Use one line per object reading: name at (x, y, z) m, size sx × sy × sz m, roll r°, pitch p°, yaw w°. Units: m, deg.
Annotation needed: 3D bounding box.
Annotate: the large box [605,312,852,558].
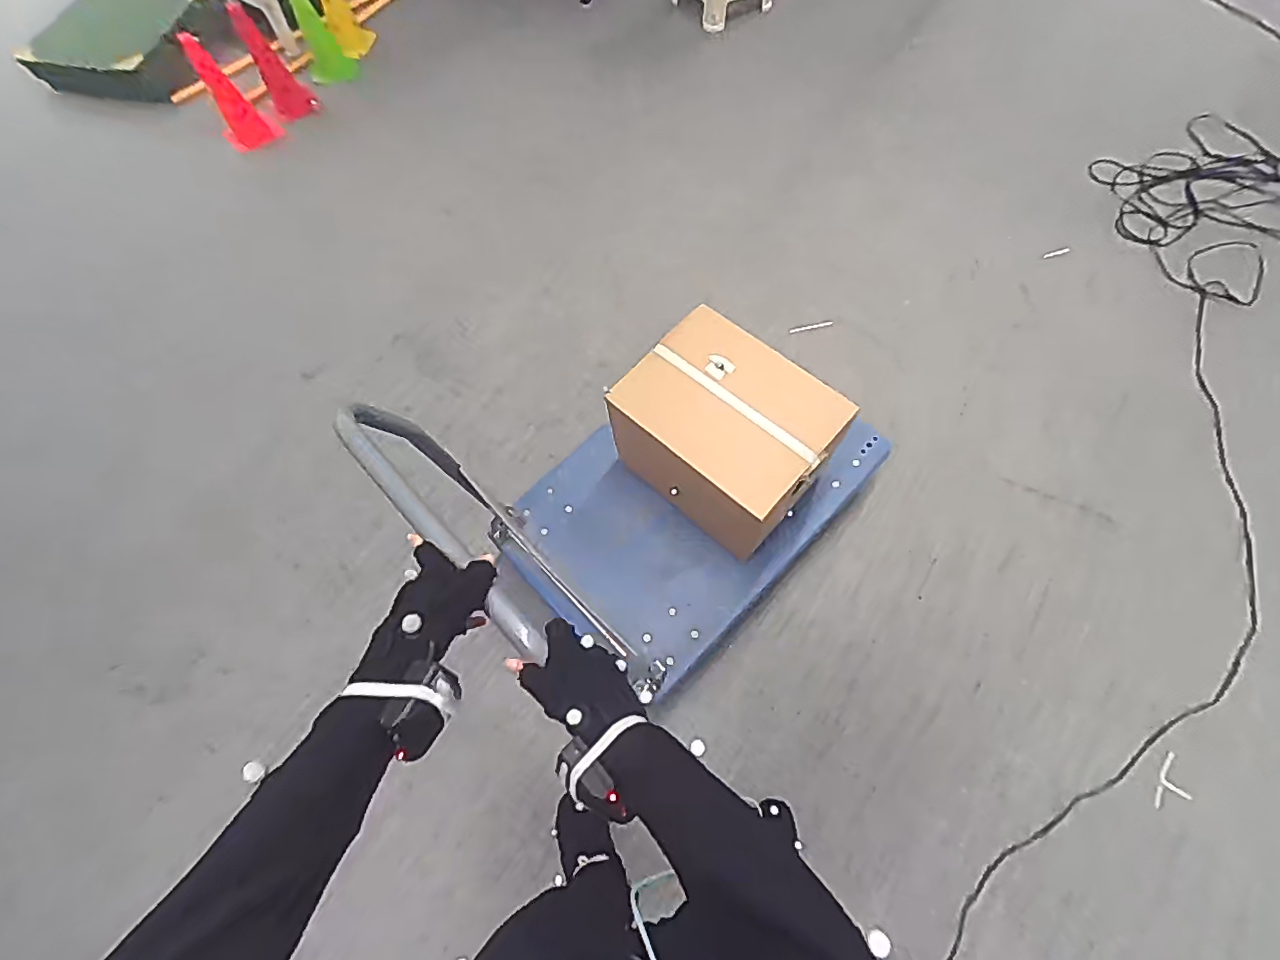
large box at (0.186, -0.090, 1.220) m, size 0.408 × 0.320 × 0.320 m, roll 39°, pitch 74°, yaw 19°
